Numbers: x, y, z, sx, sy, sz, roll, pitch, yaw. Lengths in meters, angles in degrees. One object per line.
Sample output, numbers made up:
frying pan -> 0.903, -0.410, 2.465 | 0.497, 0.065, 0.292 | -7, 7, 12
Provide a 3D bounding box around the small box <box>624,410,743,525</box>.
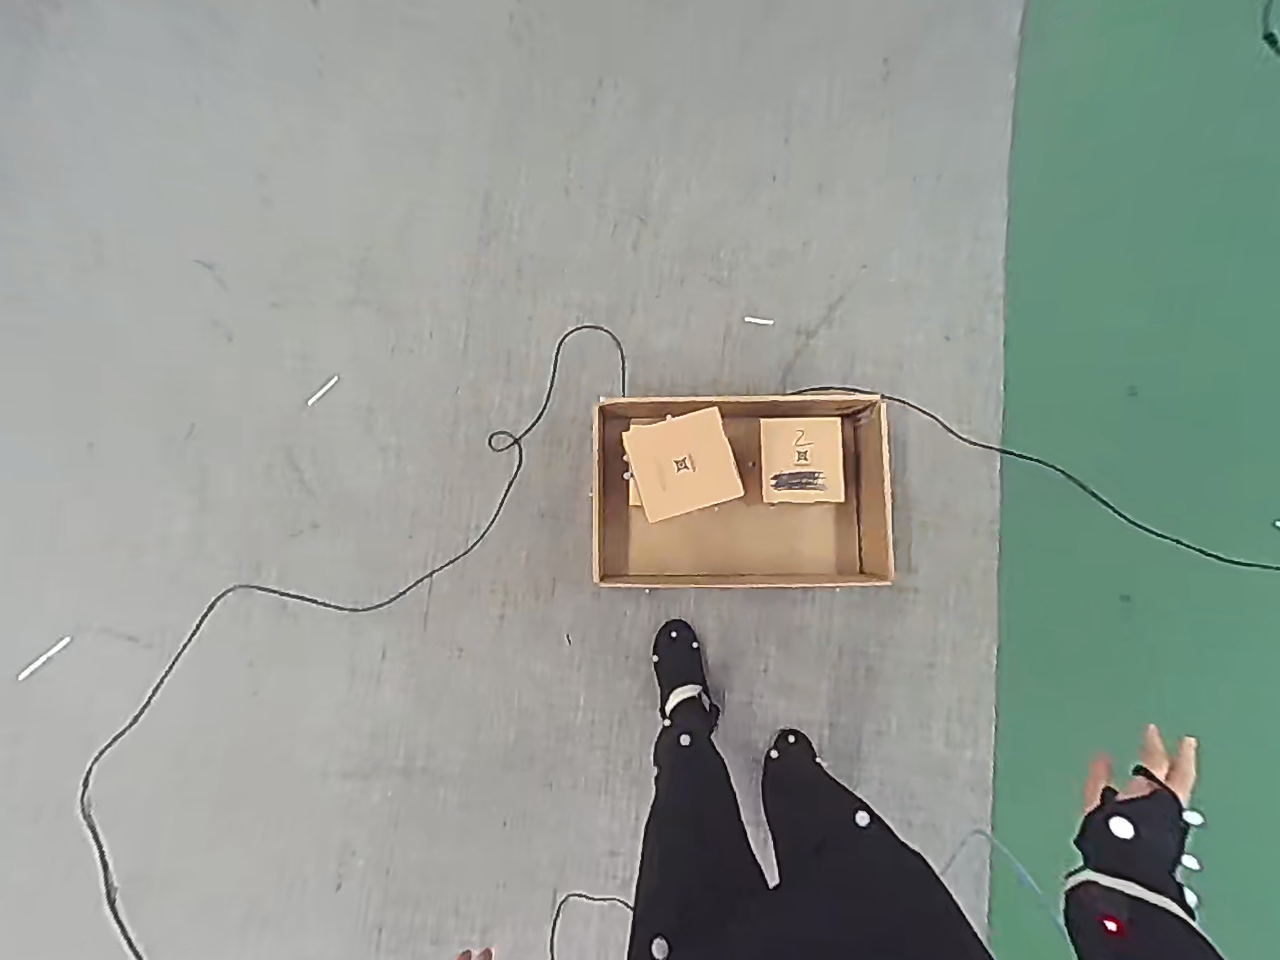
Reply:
small box -> 0.074, -0.019, 1.013 | 0.179, 0.176, 0.168 | -16, 86, -1
